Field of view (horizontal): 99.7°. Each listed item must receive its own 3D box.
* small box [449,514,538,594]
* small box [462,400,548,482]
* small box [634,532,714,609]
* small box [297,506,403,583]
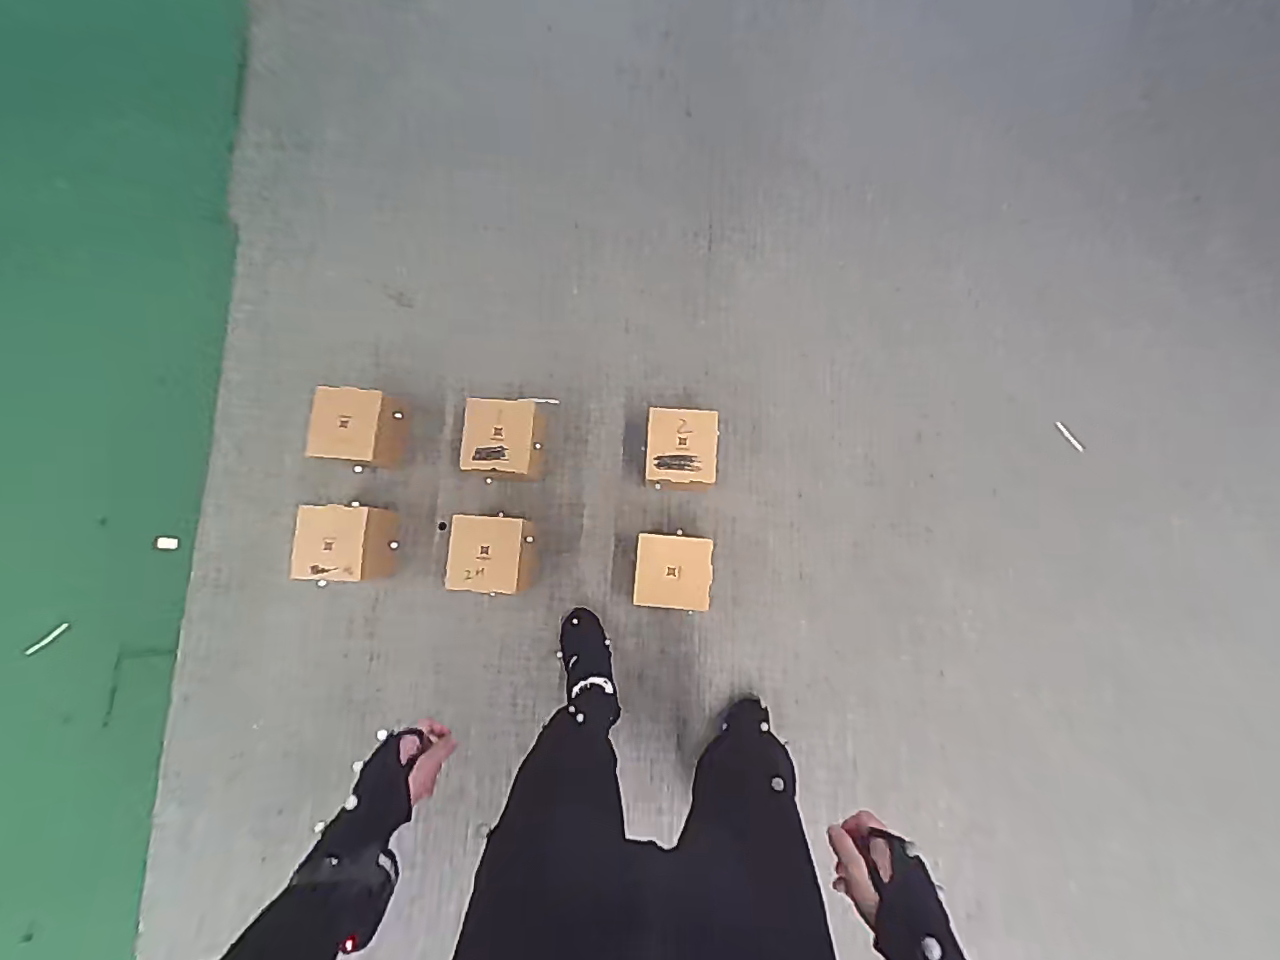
[{"bbox_3d":[-0.352,0.183,1.333,0.168,0.176,0.179,3,83,2],"label":"small box"},{"bbox_3d":[-0.334,-0.092,1.367,0.168,0.176,0.179,4,82,2],"label":"small box"},{"bbox_3d":[0.081,0.218,1.320,0.179,0.176,0.168,4,83,1],"label":"small box"},{"bbox_3d":[-0.709,0.163,1.344,0.168,0.176,0.179,2,82,2],"label":"small box"}]
